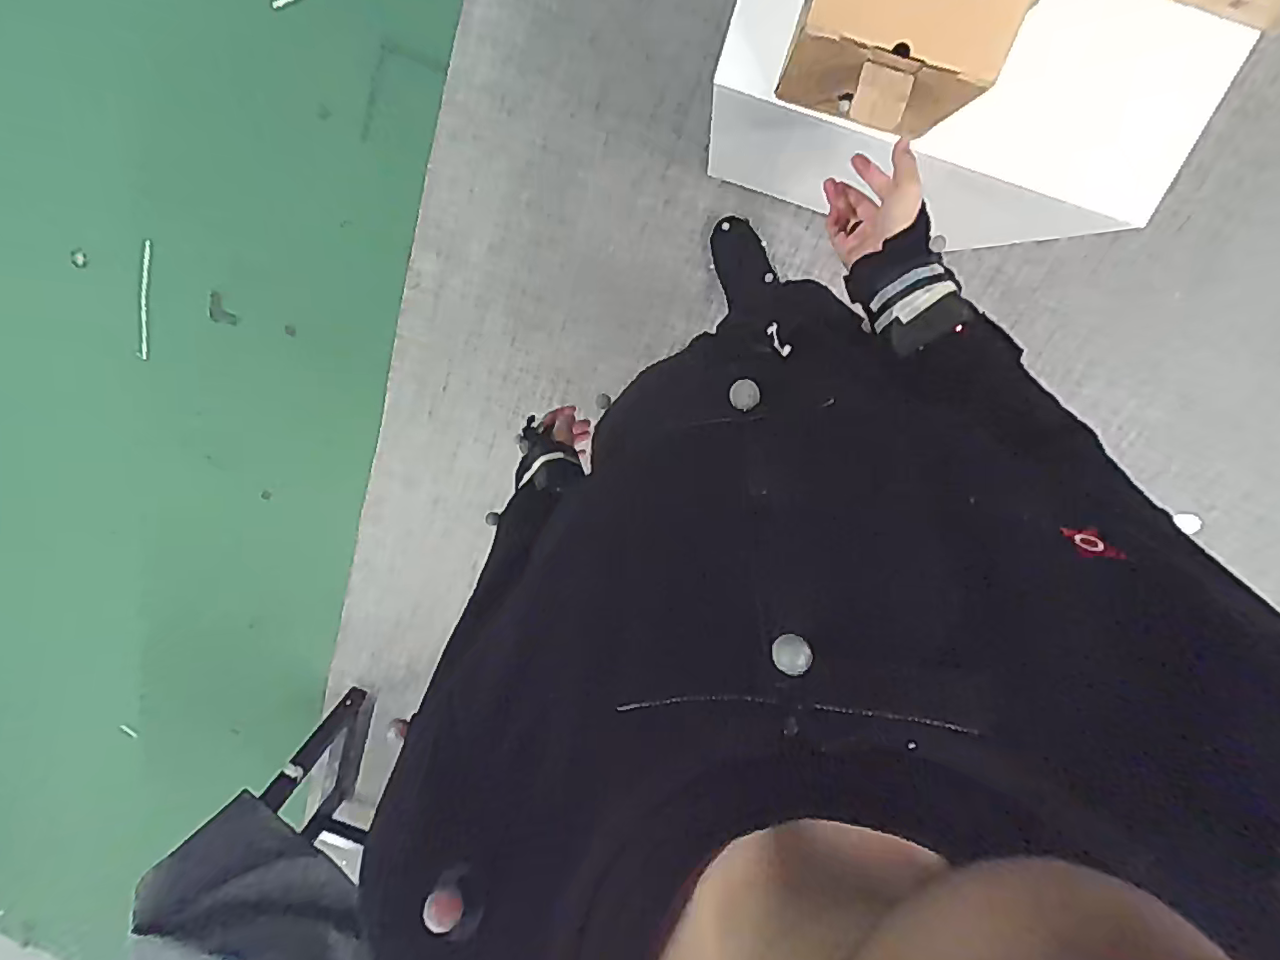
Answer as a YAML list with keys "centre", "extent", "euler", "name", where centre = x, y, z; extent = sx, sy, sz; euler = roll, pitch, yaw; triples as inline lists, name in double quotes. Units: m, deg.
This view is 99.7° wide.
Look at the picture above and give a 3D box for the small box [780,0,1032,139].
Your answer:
- centre: [0.238, -0.443, 0.485]
  extent: [0.168, 0.176, 0.179]
  euler: [16, 110, -1]
  name: "small box"
